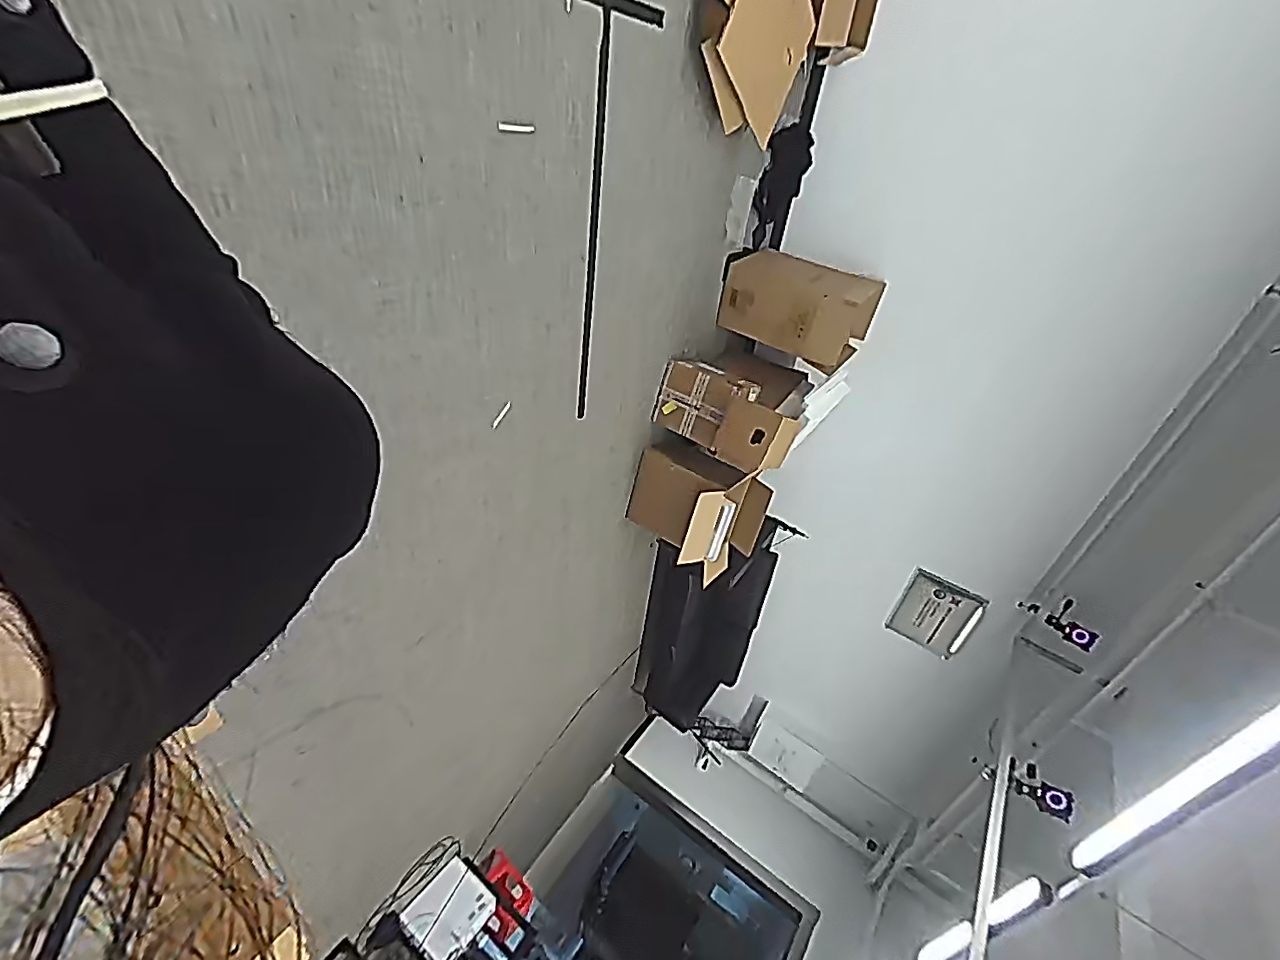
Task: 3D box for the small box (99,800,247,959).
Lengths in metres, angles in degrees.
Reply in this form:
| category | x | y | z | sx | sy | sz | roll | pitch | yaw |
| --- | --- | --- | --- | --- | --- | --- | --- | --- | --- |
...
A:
| category | x | y | z | sx | sy | sz | roll | pitch | yaw |
| --- | --- | --- | --- | --- | --- | --- | --- | --- | --- |
| small box | -0.854 | 0.754 | 1.008 | 0.179 | 0.176 | 0.168 | -33 | 142 | -48 |

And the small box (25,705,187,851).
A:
| category | x | y | z | sx | sy | sz | roll | pitch | yaw |
| --- | --- | --- | --- | --- | --- | --- | --- | --- | --- |
| small box | -1.121 | 0.618 | 1.142 | 0.179 | 0.176 | 0.168 | -35 | 143 | -44 |

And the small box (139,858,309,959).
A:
| category | x | y | z | sx | sy | sz | roll | pitch | yaw |
| --- | --- | --- | --- | --- | --- | --- | --- | --- | --- |
| small box | -0.722 | 0.822 | 0.941 | 0.179 | 0.176 | 0.168 | -33 | 141 | -48 |
